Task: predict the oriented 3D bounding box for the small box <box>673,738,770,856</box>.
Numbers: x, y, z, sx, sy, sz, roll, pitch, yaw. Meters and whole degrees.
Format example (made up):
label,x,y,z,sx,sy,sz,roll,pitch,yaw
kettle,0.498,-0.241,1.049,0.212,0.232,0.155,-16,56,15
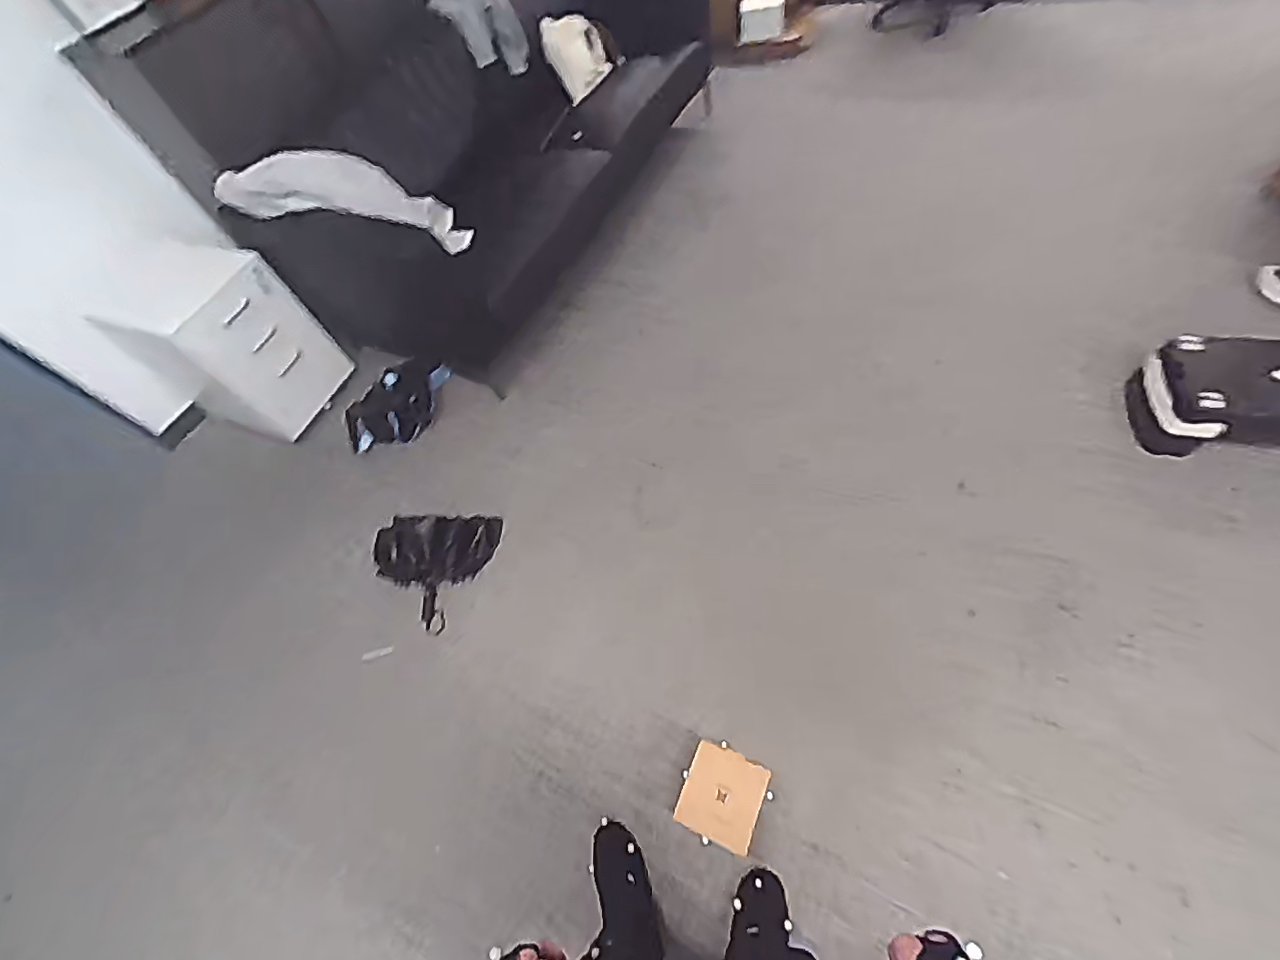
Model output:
label,x,y,z,sx,sy,sz,roll,pitch,yaw
small box,0.190,0.718,1.232,0.168,0.176,0.179,16,64,22
